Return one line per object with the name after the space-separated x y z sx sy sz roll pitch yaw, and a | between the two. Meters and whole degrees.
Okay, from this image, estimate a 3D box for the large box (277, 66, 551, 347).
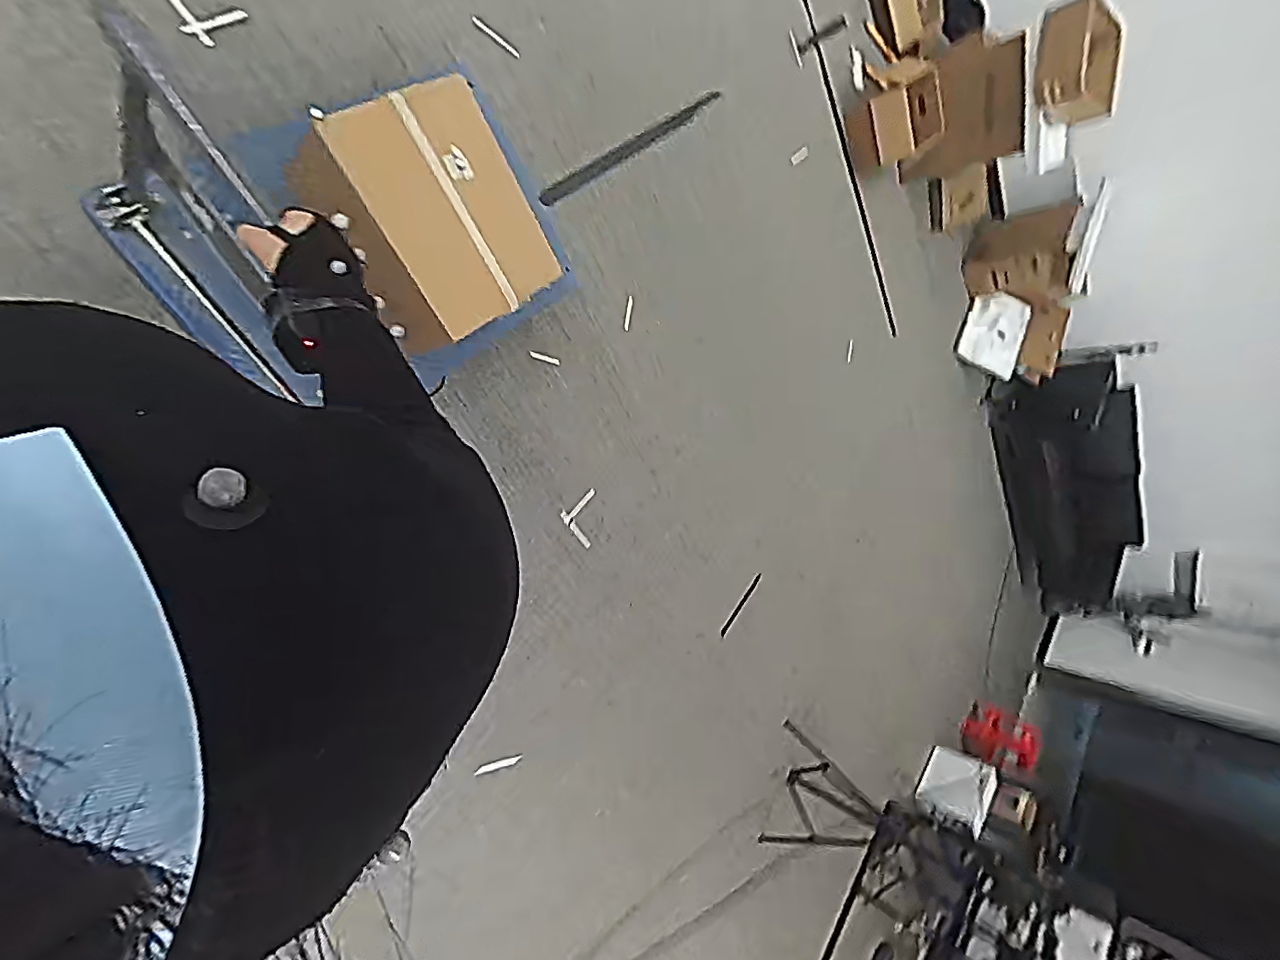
-0.473 -0.548 1.155 0.320 0.320 0.408 -46 121 -29 | large box
